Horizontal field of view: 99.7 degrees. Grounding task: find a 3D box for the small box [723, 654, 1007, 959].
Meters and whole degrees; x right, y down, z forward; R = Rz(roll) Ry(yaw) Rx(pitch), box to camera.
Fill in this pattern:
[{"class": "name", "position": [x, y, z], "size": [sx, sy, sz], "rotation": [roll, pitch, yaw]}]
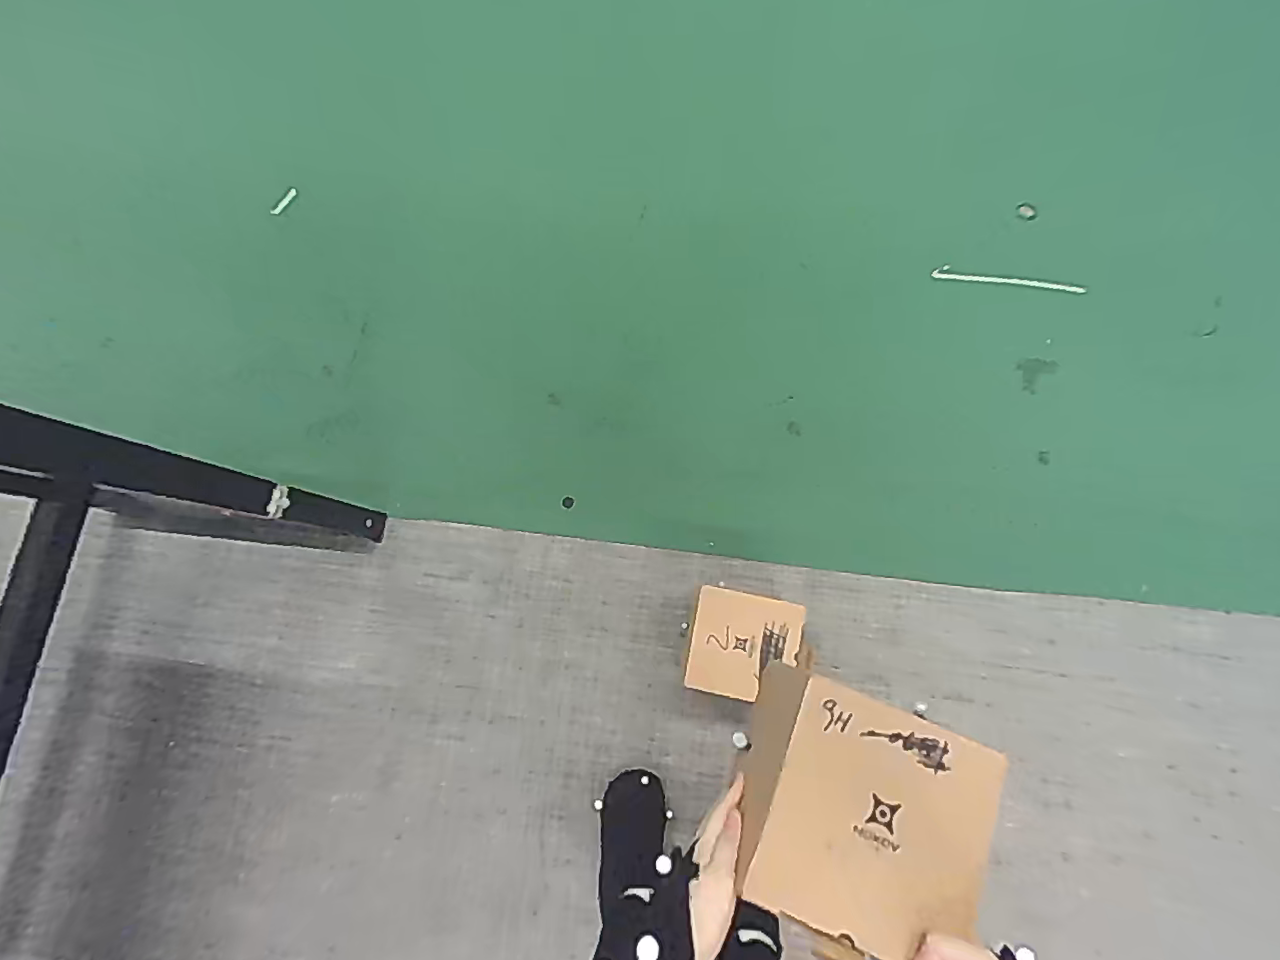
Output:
[{"class": "small box", "position": [0.183, 0.276, 0.492], "size": [0.168, 0.176, 0.179], "rotation": [22, 77, 7]}]
